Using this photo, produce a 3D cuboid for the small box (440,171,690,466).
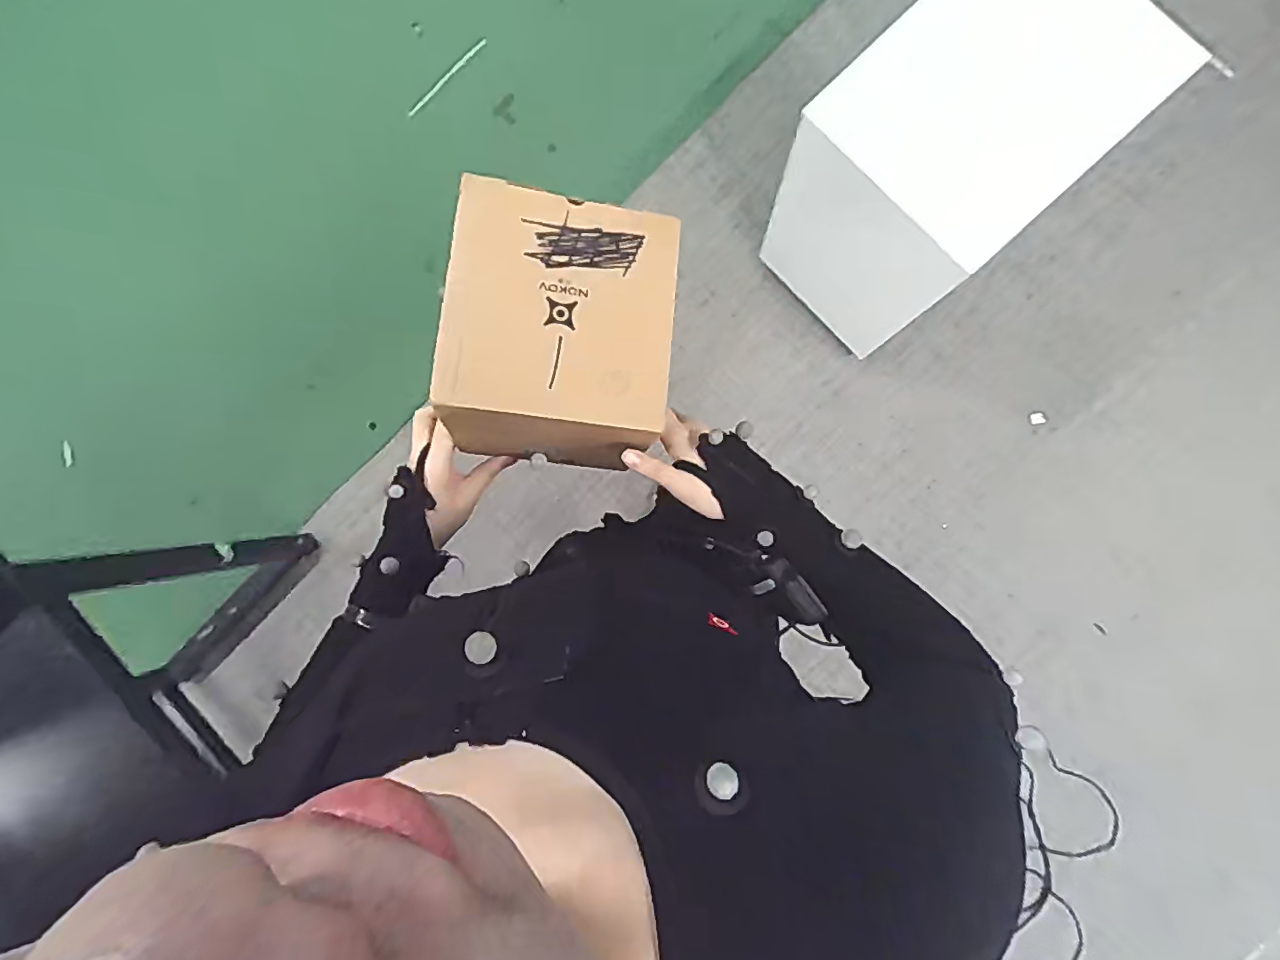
[{"bbox_3d":[-0.064,-0.120,0.472,0.168,0.176,0.179,8,81,-9],"label":"small box"}]
